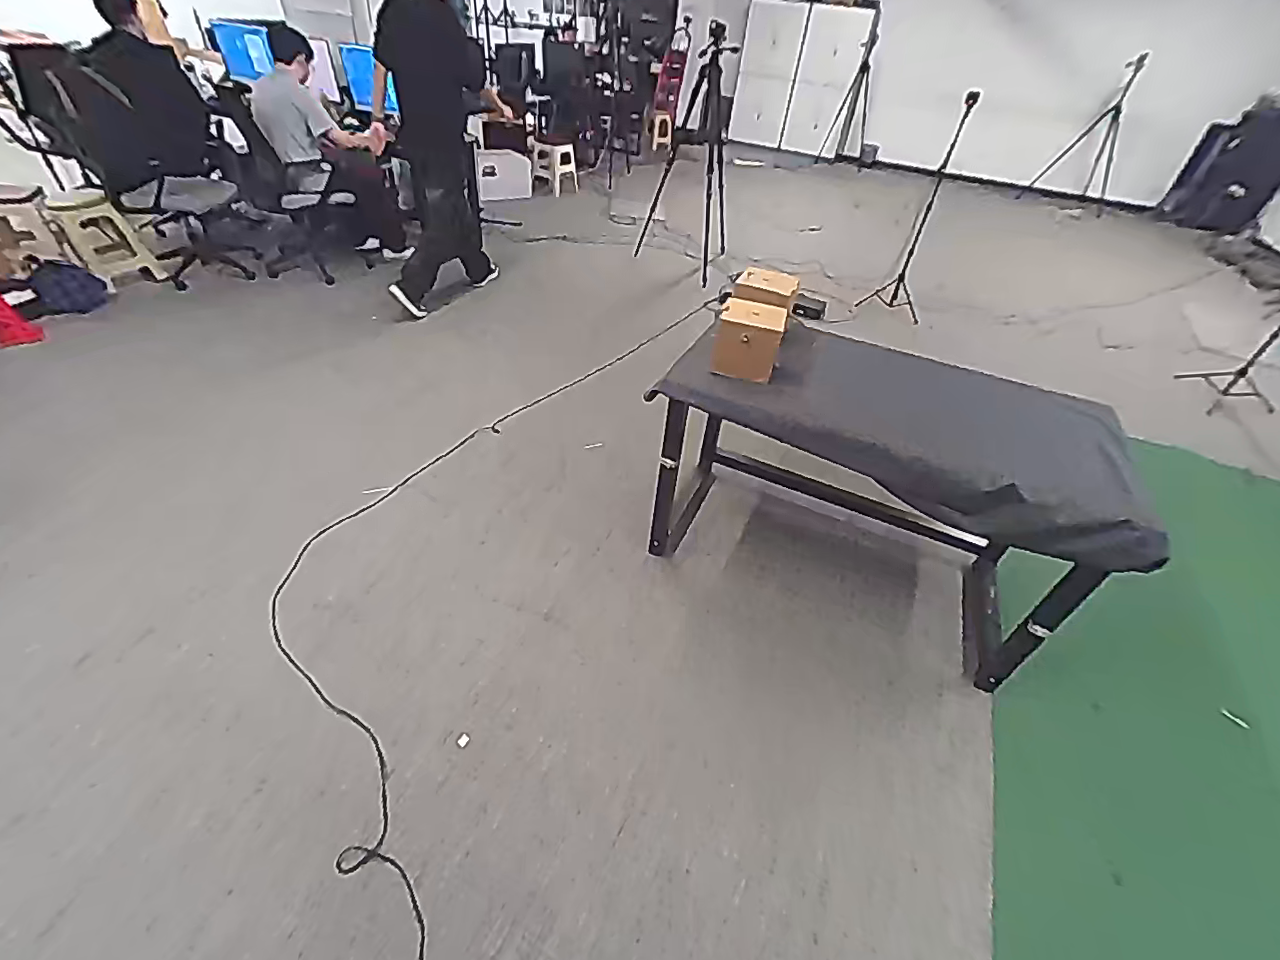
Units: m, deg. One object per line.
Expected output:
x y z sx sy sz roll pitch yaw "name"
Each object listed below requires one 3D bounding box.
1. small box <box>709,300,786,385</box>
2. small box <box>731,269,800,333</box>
0.307 -0.393 1.554 0.179 0.176 0.168 16 41 8 "small box"
0.396 -0.558 1.758 0.179 0.176 0.168 21 43 15 "small box"
